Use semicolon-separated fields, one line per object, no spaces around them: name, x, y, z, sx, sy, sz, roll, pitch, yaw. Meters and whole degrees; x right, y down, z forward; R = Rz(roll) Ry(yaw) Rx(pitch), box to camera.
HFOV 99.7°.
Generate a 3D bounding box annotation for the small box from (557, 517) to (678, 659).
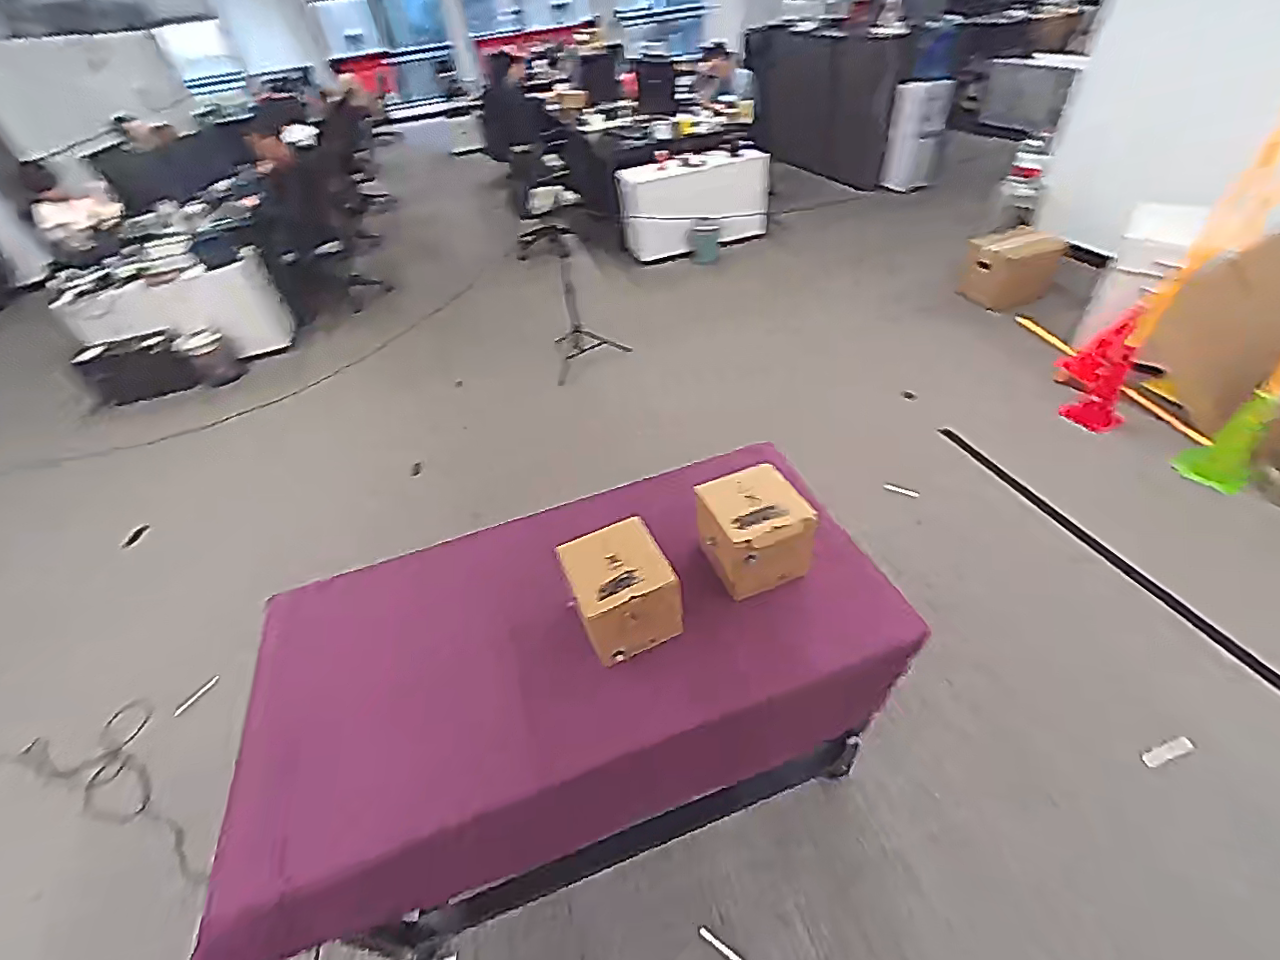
small box;-0.038;0.206;1.007;0.168;0.176;0.179;-21;43;-14
